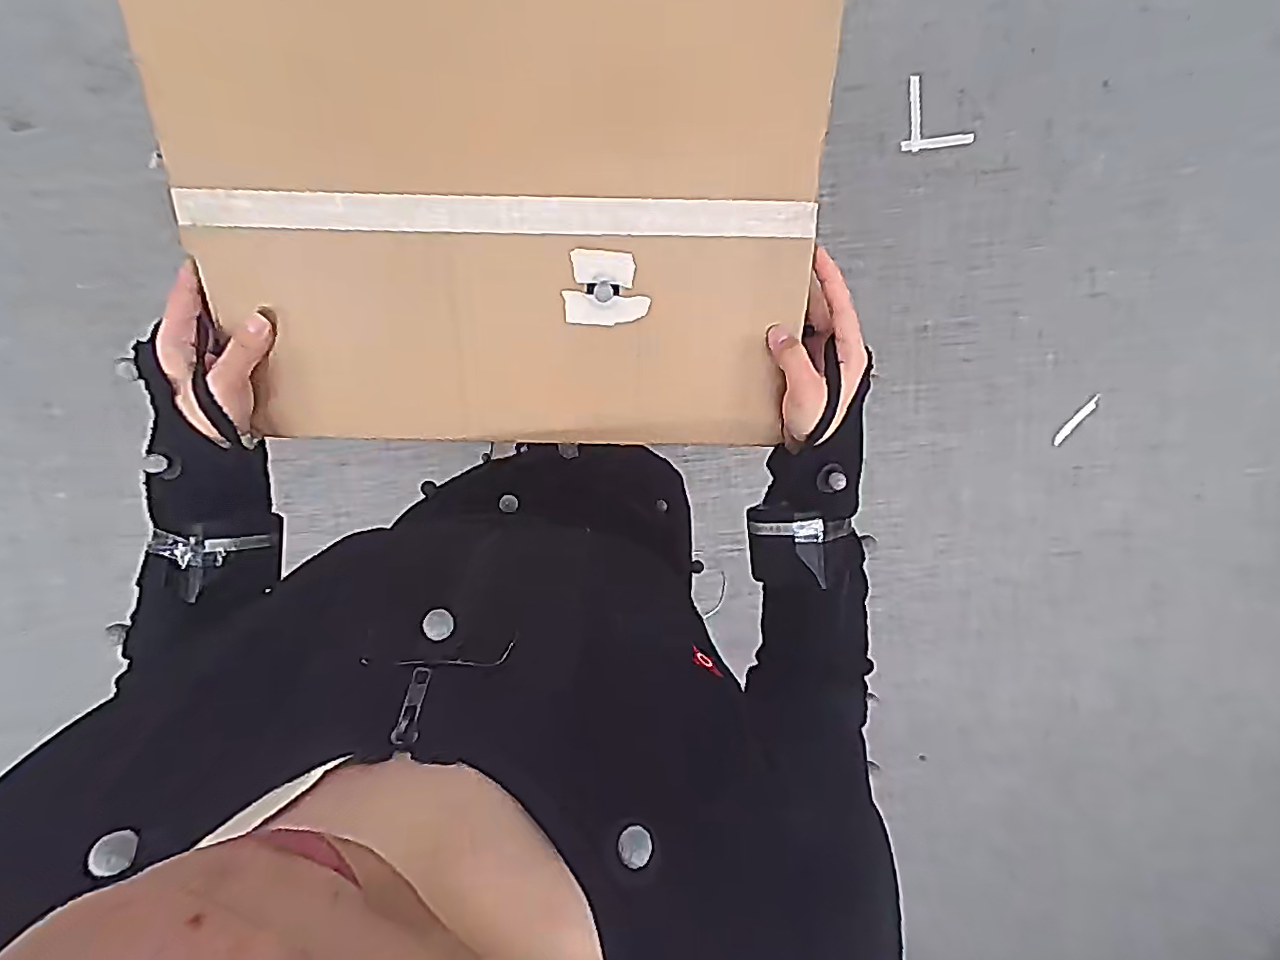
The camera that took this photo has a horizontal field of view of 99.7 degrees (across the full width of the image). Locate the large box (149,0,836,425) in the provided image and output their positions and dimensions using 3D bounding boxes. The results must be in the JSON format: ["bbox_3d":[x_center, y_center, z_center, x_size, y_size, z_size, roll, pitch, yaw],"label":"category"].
[{"bbox_3d":[-0.090,-0.243,0.488,0.408,0.320,0.320,1,115,-2],"label":"large box"}]
